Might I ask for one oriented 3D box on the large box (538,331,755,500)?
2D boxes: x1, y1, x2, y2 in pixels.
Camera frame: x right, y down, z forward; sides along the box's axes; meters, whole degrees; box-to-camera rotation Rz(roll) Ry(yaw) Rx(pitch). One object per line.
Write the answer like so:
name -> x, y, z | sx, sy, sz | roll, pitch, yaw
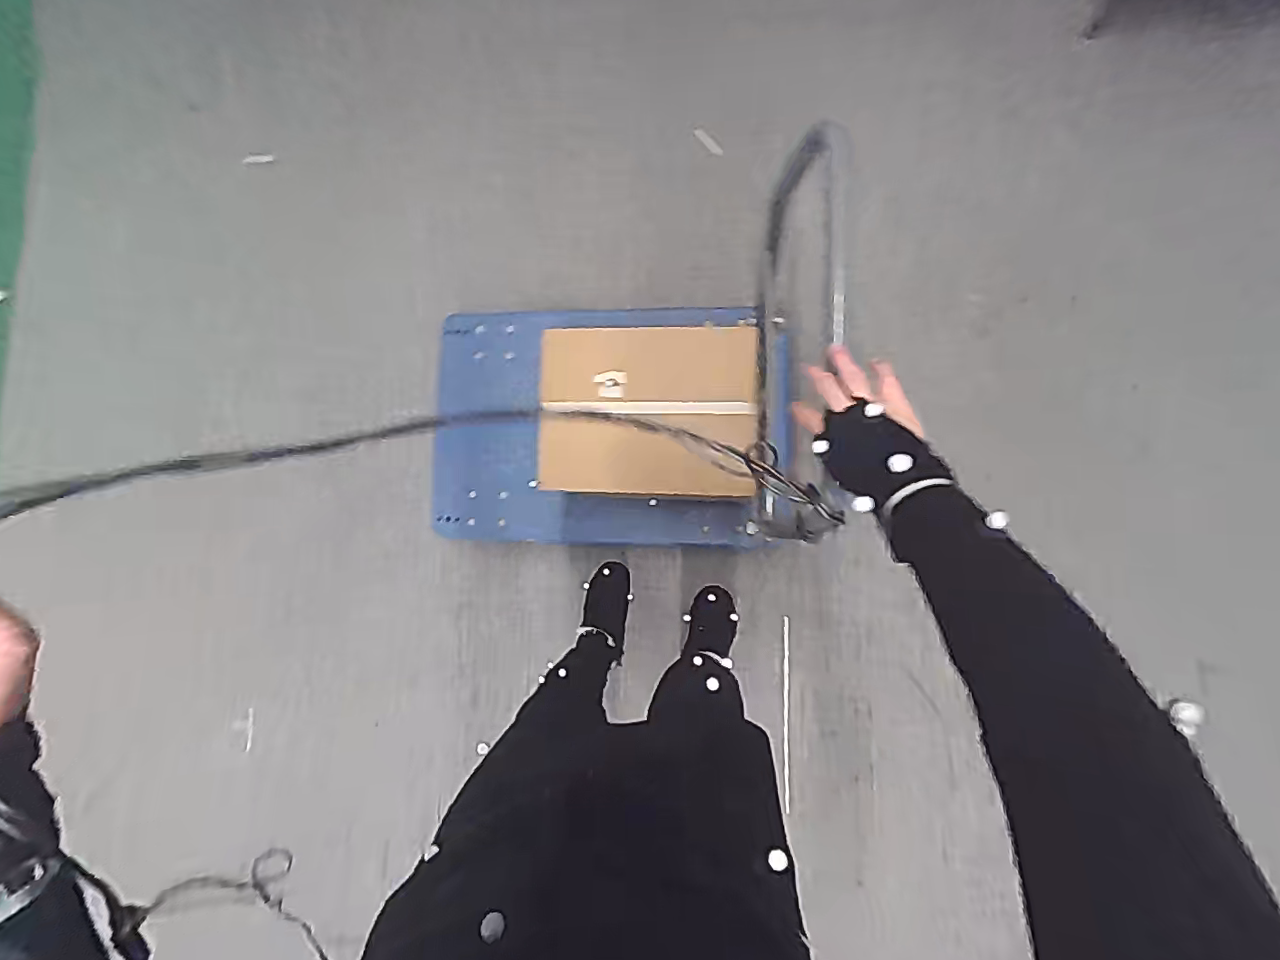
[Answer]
large box -> 0.031, -0.116, 1.150 | 0.408, 0.320, 0.320 | 2, 86, 8
